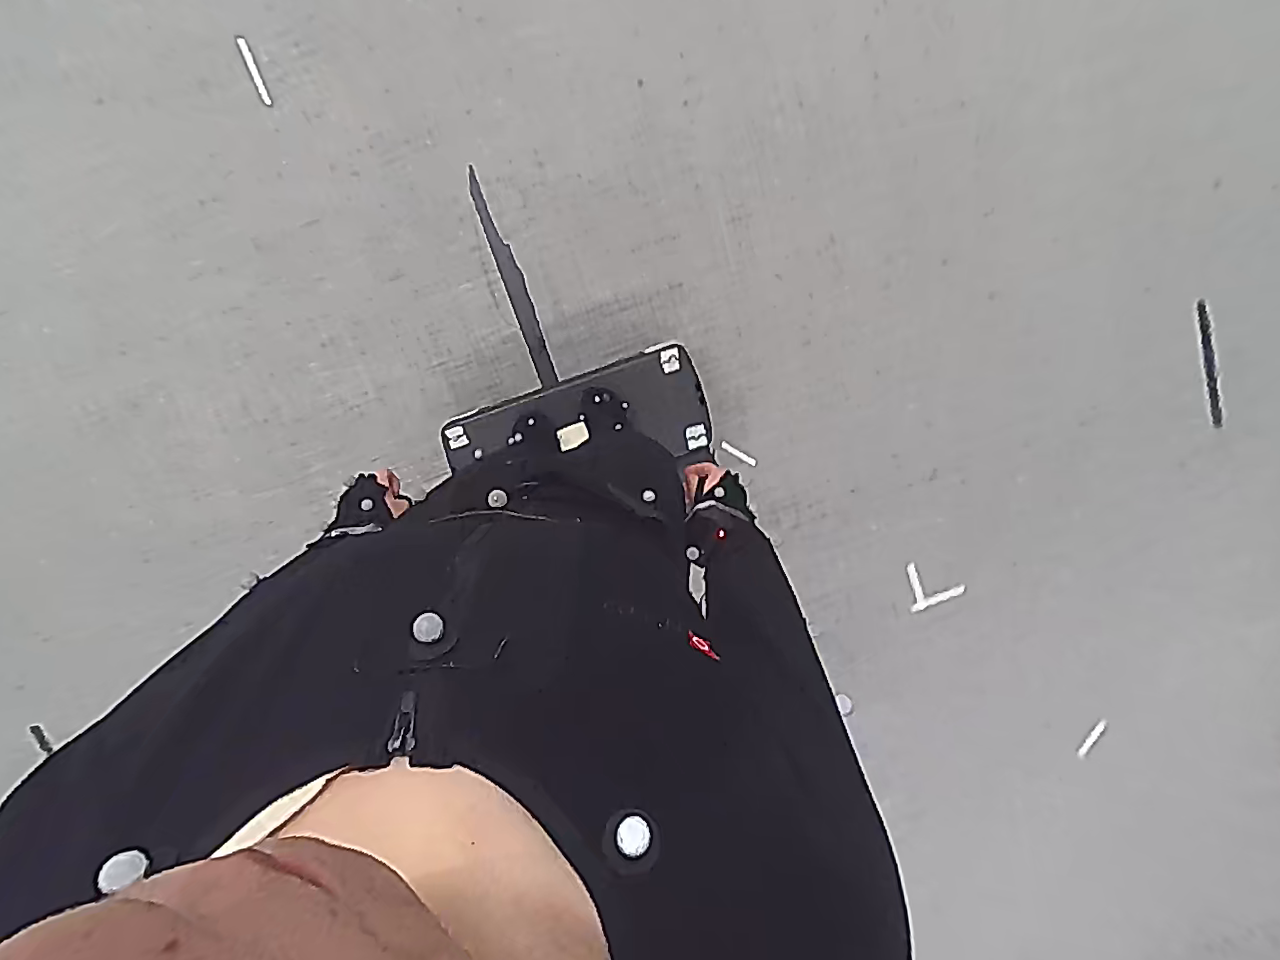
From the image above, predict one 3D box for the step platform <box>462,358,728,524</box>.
[{"bbox_3d":[-0.114,-0.105,1.445,0.684,0.204,0.286,-16,101,0],"label":"step platform"}]
